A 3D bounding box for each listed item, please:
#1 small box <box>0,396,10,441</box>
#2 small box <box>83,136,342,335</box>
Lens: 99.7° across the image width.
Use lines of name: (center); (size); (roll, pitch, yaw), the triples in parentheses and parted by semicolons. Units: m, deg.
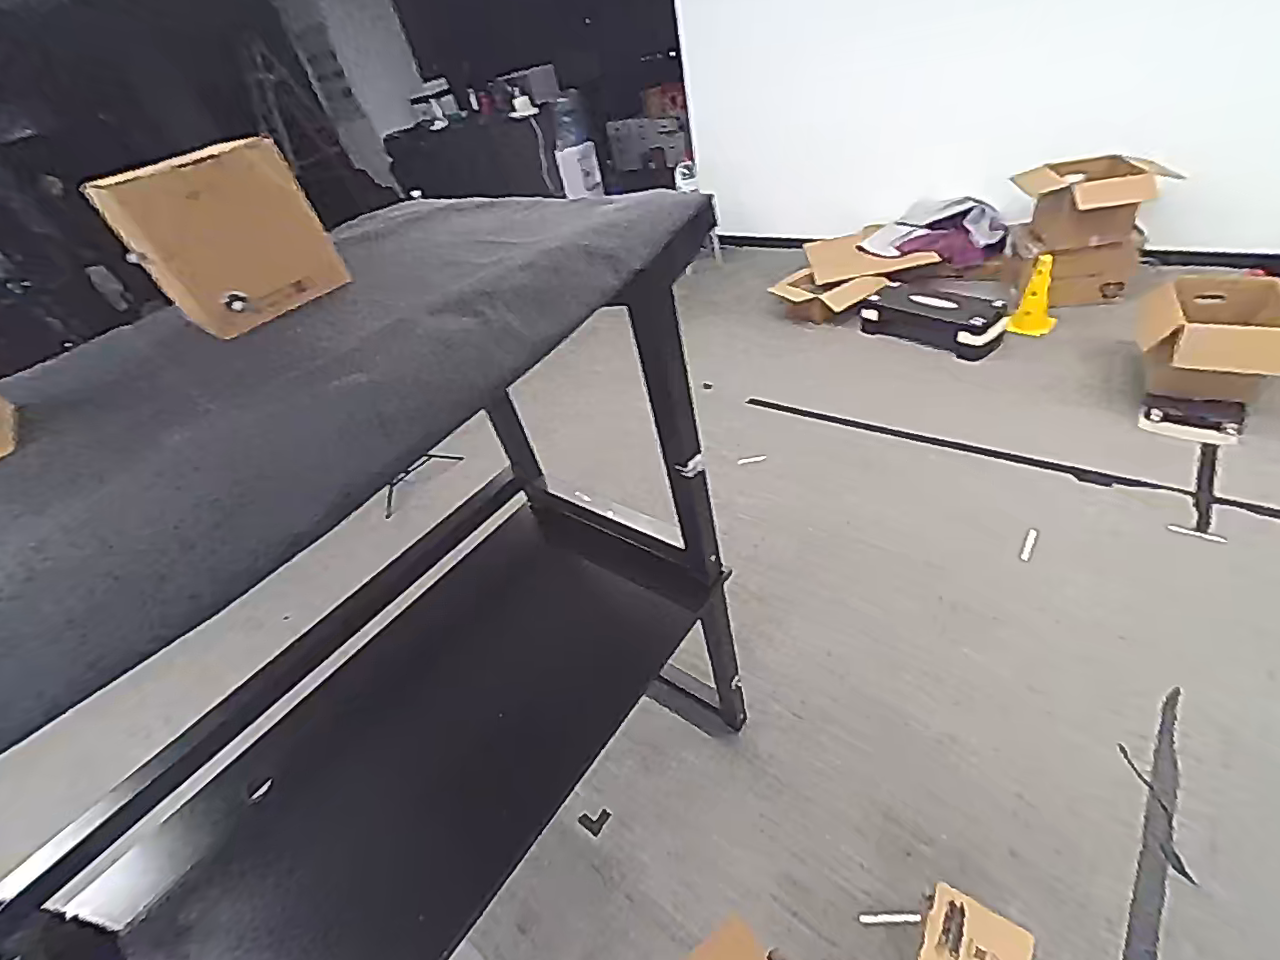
small box: (-0.712, -0.064, 0.462); (0.168, 0.176, 0.179); (26, 55, 37)
small box: (-0.506, -0.295, 0.658); (0.179, 0.176, 0.168); (23, 53, 37)
